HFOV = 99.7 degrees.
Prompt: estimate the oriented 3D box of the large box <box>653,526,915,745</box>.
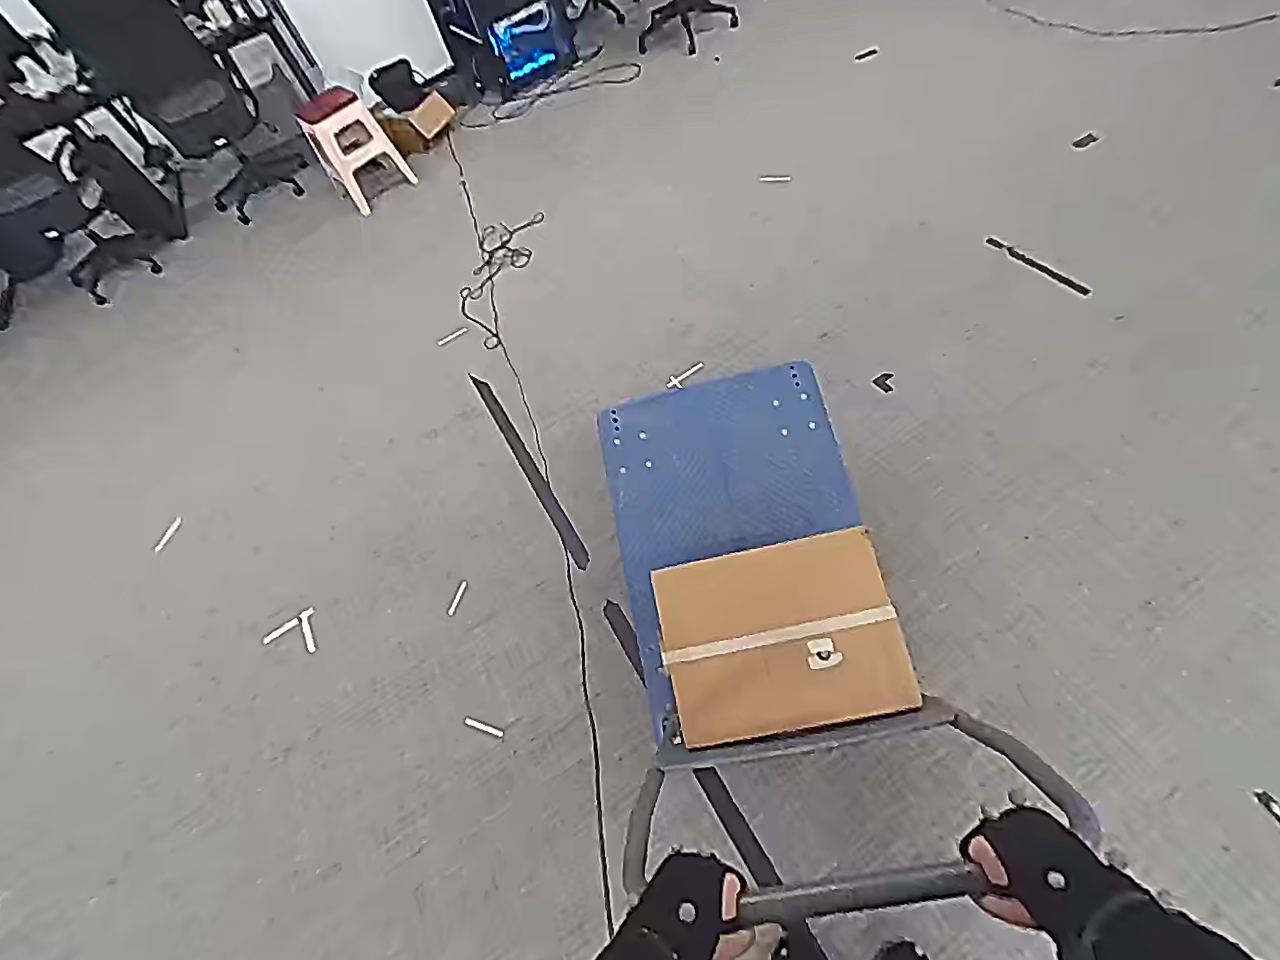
[{"bbox_3d":[0.266,0.315,1.113,0.408,0.320,0.320,-14,74,5],"label":"large box"}]
